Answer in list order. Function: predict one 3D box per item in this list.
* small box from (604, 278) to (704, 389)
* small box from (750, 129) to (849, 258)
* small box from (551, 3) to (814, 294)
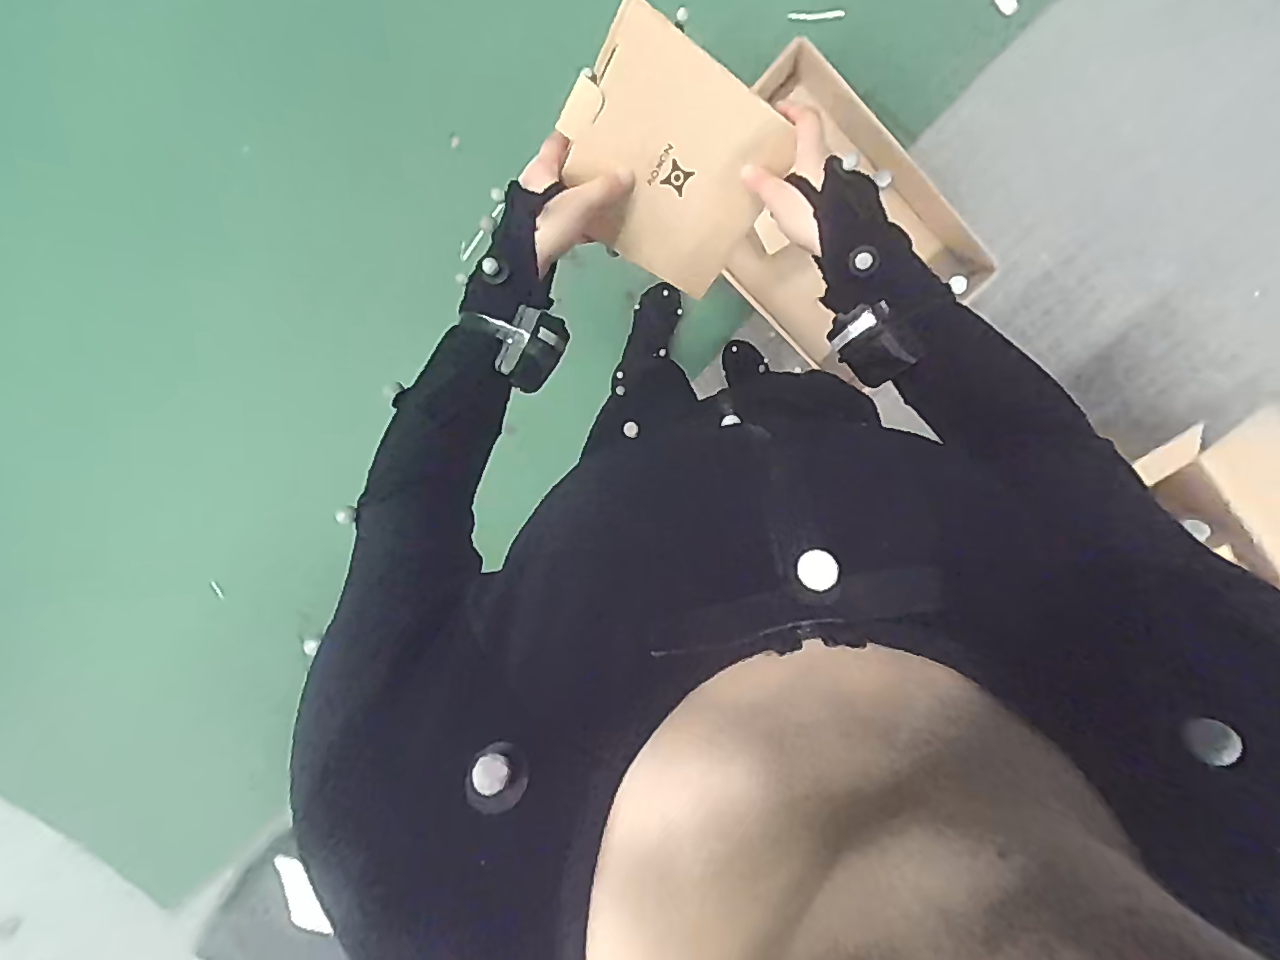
[{"bbox_3d":[0.041,-0.351,1.297,0.179,0.168,0.176,-29,133,-9],"label":"small box"},{"bbox_3d":[0.313,-0.599,1.155,0.179,0.176,0.168,-29,102,15],"label":"small box"},{"bbox_3d":[0.030,-0.320,0.525,0.179,0.176,0.168,21,127,-21],"label":"small box"}]
